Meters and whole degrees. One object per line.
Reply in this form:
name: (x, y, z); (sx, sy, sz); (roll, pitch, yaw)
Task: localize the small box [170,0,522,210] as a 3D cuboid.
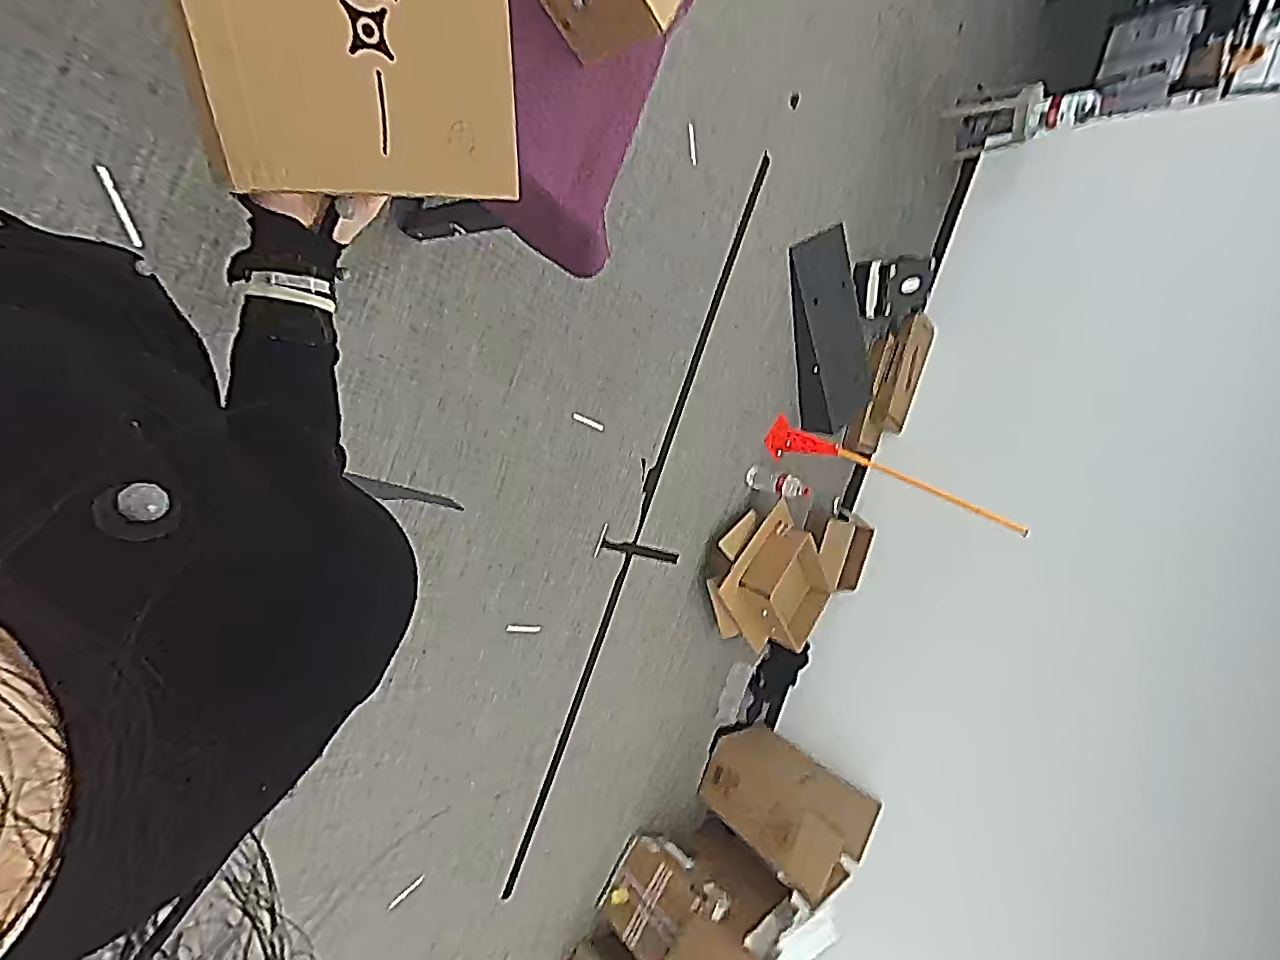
small box: (-0.194, -0.279, 0.356); (0.168, 0.176, 0.179); (-18, 123, -34)
